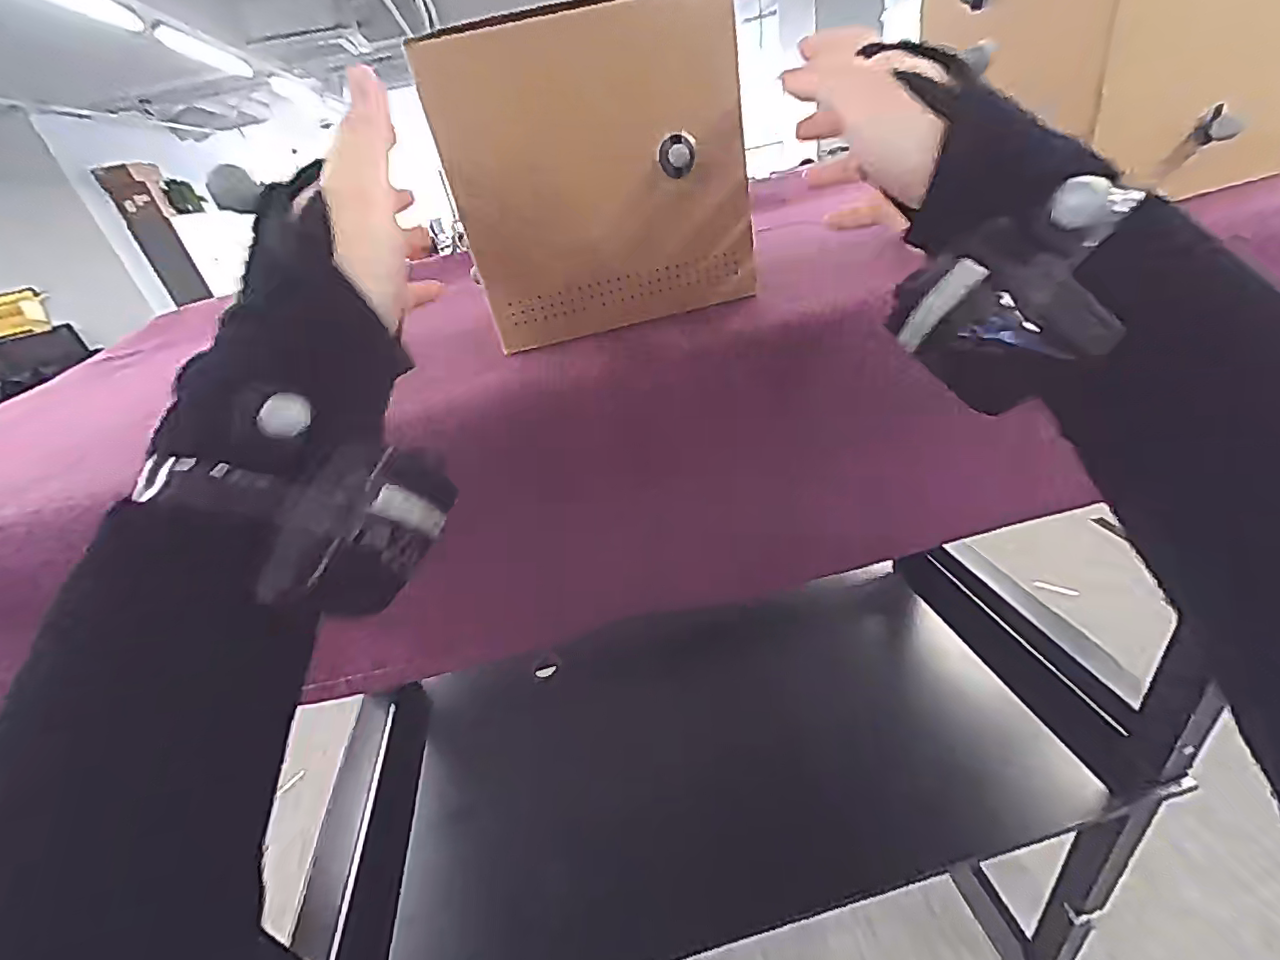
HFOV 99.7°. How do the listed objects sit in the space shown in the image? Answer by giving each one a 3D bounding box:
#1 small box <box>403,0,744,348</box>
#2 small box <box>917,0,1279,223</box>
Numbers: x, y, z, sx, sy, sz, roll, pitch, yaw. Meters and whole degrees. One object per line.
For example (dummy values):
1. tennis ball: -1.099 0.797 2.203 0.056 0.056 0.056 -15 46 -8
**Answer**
1. small box: -0.033 -0.210 0.382 0.179 0.176 0.168 -15 30 -3
2. small box: 0.323 -0.294 0.380 0.179 0.176 0.168 -16 30 -5
